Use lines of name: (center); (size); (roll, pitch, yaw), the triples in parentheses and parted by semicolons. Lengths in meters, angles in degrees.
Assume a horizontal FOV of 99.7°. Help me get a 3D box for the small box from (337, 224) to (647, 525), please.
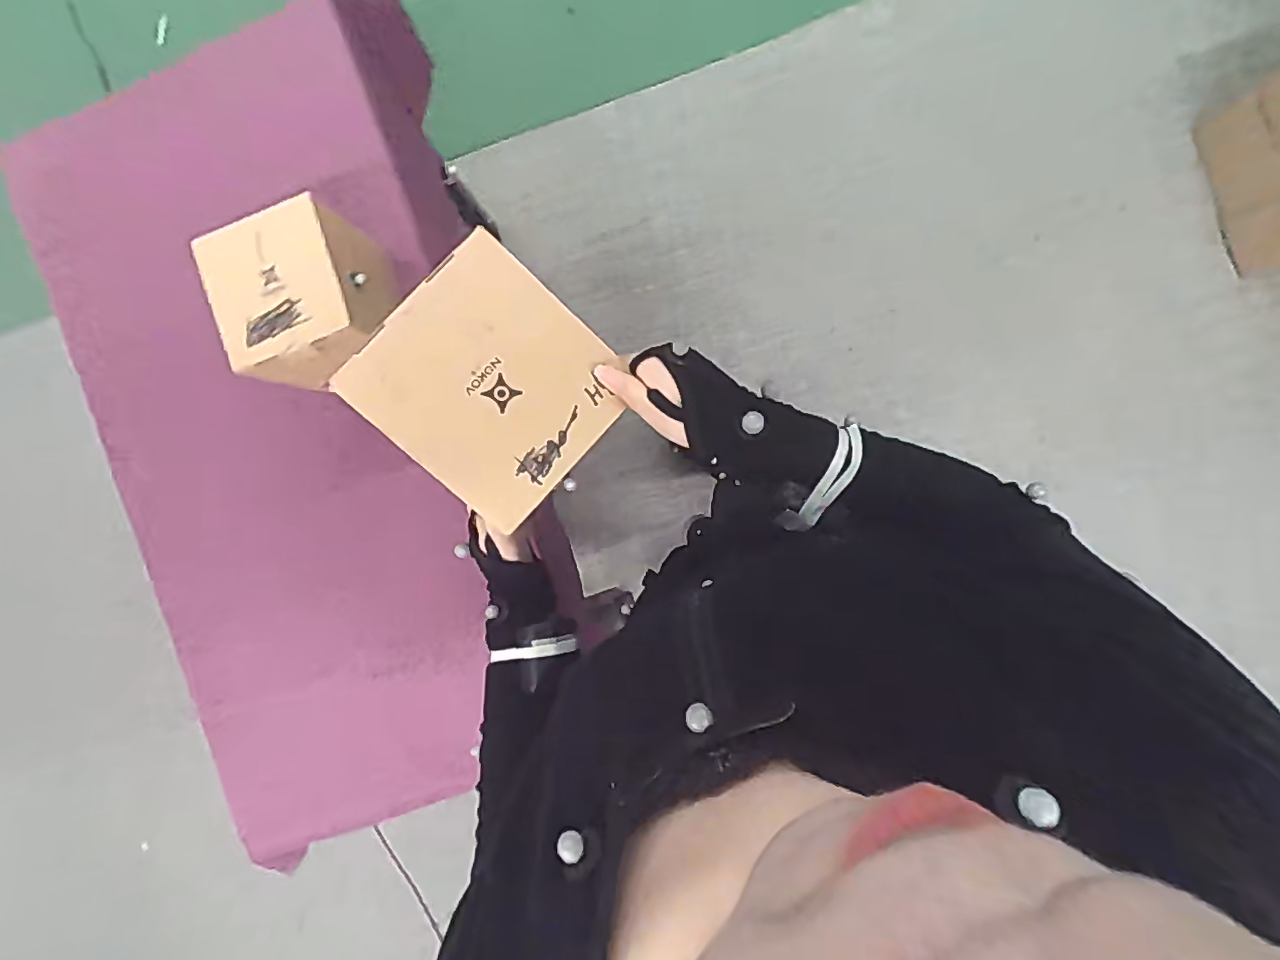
small box: (-0.121, -0.084, 0.494); (0.179, 0.176, 0.168); (45, 87, -9)

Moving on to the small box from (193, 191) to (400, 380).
small box: (-0.441, -0.245, 0.737); (0.168, 0.176, 0.179); (-19, 89, 6)
